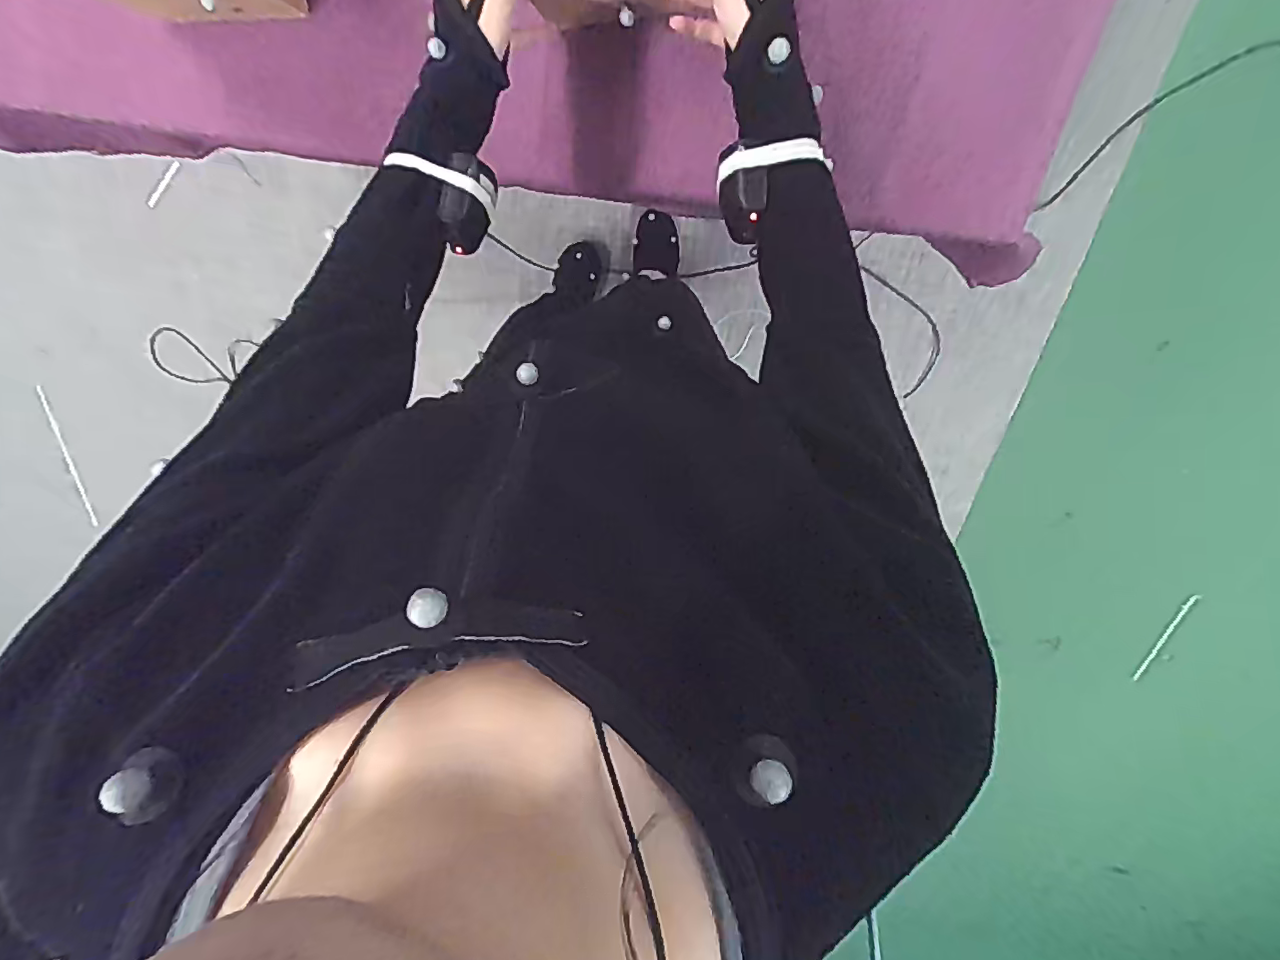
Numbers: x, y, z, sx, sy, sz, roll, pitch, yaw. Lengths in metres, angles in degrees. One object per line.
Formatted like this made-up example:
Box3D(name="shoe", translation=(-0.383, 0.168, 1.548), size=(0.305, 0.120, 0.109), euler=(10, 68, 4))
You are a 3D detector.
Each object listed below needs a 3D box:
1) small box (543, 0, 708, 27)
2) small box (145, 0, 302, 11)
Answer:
Box3D(name="small box", translation=(-0.021, -0.501, 0.432), size=(0.168, 0.176, 0.179), euler=(-3, 121, 6))
Box3D(name="small box", translation=(-0.425, -0.528, 0.455), size=(0.168, 0.176, 0.179), euler=(2, 116, 2))
